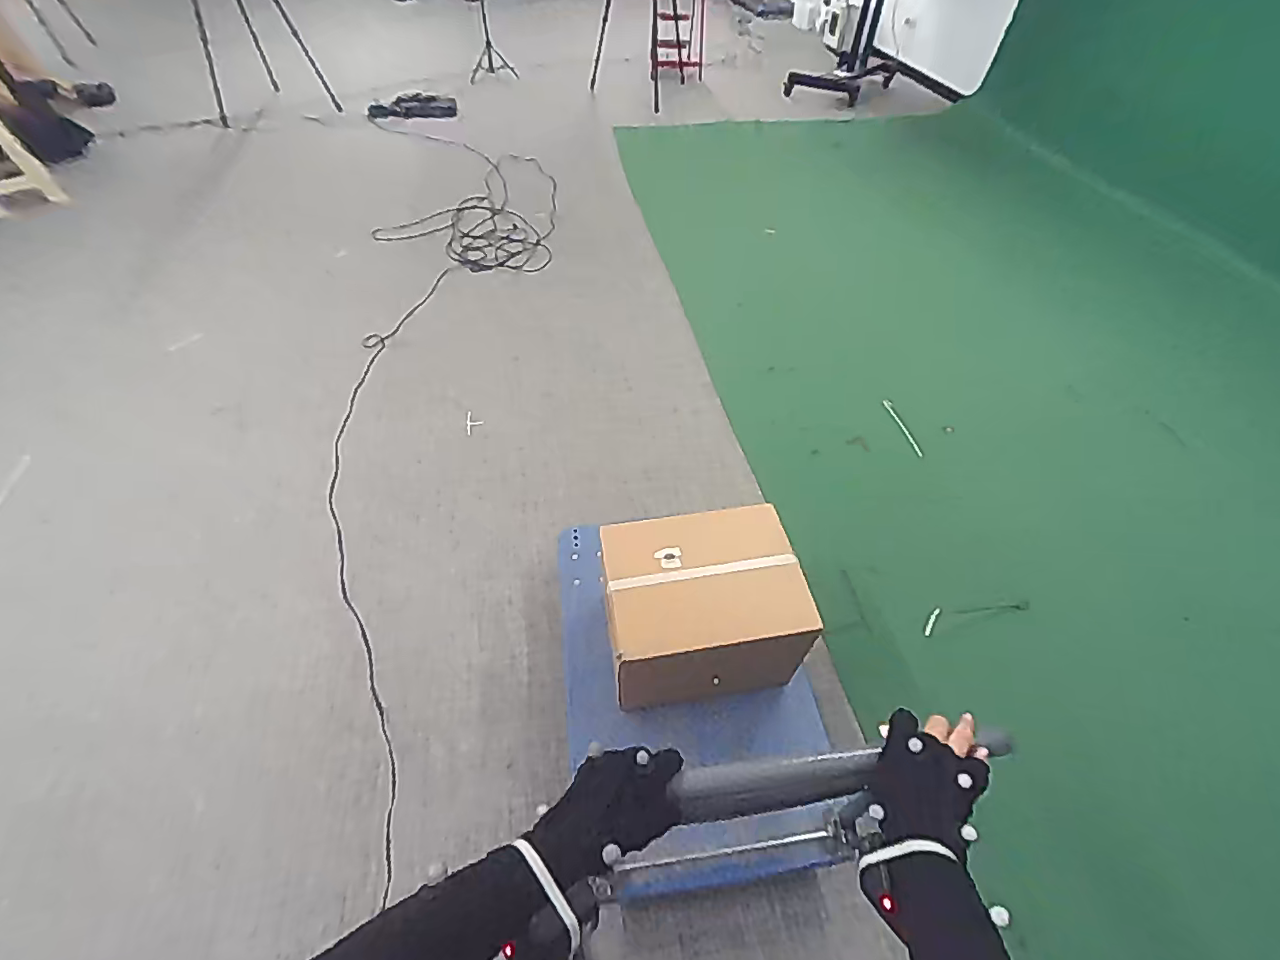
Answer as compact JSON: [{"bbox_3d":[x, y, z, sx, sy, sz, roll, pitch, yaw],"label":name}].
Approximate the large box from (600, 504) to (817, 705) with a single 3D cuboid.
[{"bbox_3d":[0.132,0.291,1.255,0.408,0.320,0.320,-8,51,-7],"label":"large box"}]
